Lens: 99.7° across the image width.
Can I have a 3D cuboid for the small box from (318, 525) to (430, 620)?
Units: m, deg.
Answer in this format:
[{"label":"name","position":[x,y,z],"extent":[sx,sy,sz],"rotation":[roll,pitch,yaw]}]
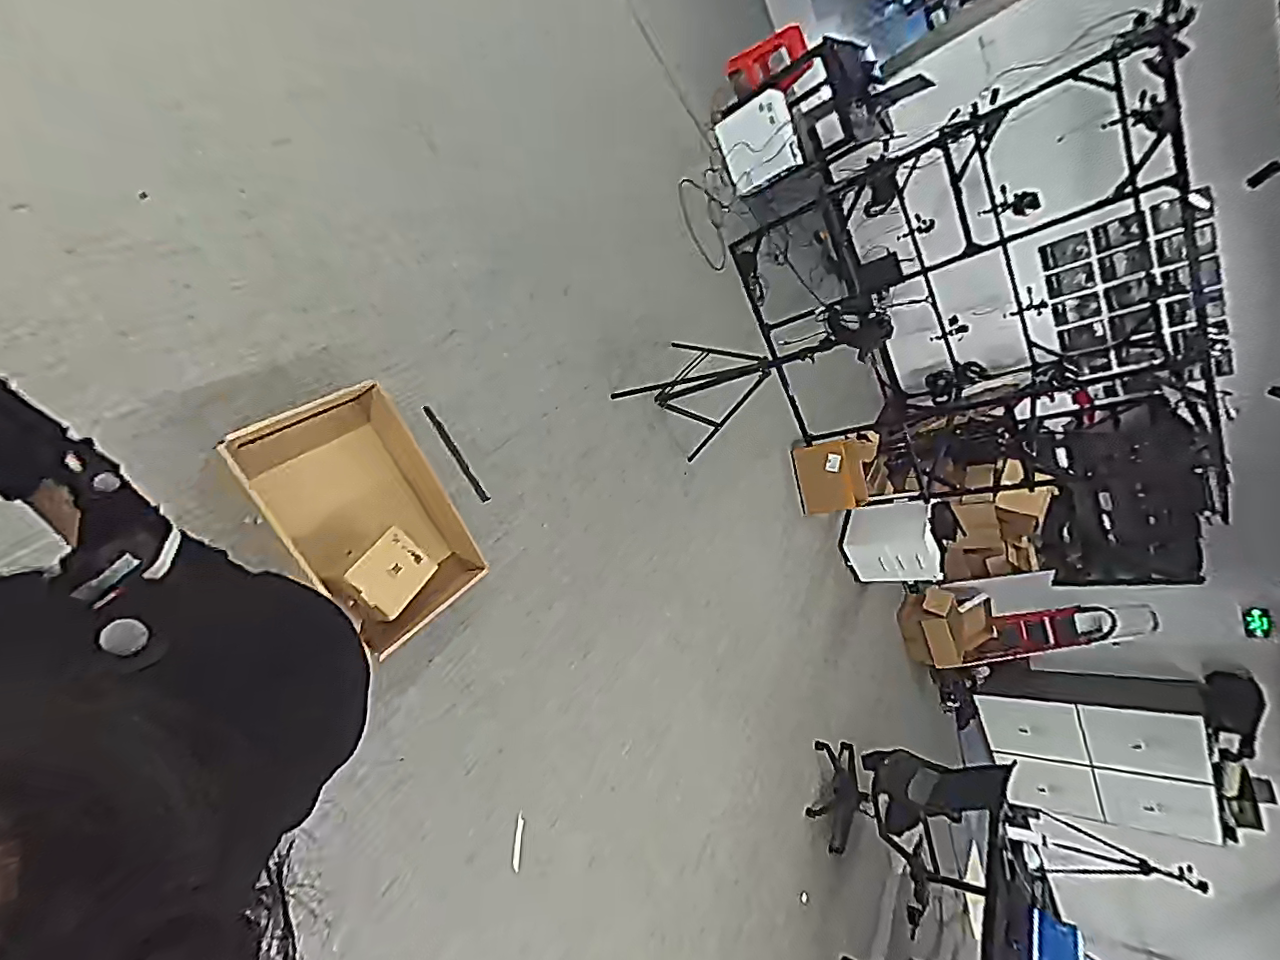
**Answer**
[{"label":"small box","position":[-0.688,0.241,1.385],"extent":[0.168,0.176,0.179],"rotation":[55,45,-25]}]
